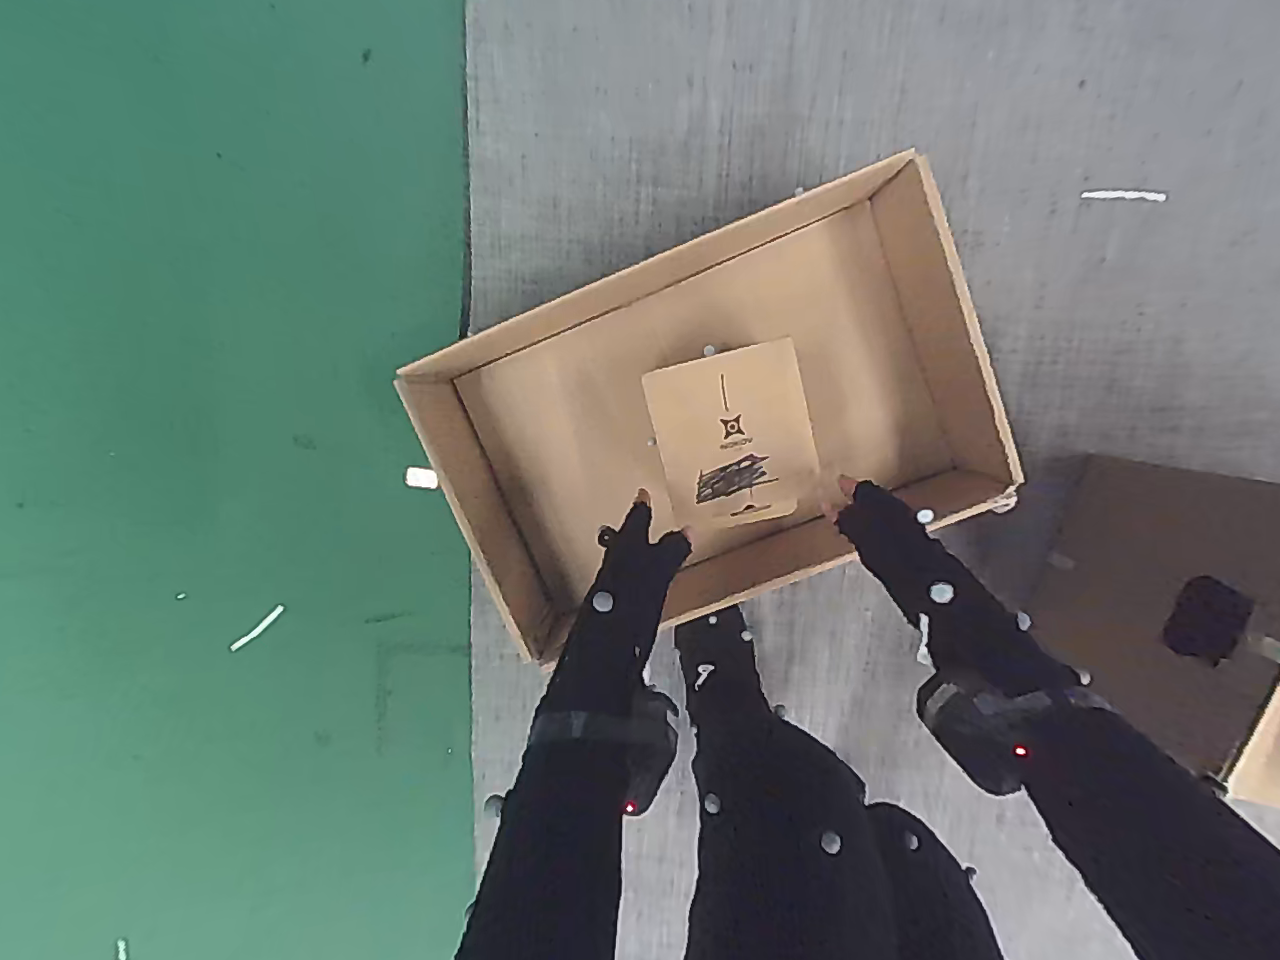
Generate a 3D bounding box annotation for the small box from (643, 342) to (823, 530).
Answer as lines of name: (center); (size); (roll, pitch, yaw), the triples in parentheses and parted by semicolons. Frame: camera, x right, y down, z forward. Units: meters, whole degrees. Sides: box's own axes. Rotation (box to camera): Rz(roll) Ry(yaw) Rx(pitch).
small box: (0.106, -0.058, 0.657); (0.168, 0.176, 0.179); (-14, 98, 5)
